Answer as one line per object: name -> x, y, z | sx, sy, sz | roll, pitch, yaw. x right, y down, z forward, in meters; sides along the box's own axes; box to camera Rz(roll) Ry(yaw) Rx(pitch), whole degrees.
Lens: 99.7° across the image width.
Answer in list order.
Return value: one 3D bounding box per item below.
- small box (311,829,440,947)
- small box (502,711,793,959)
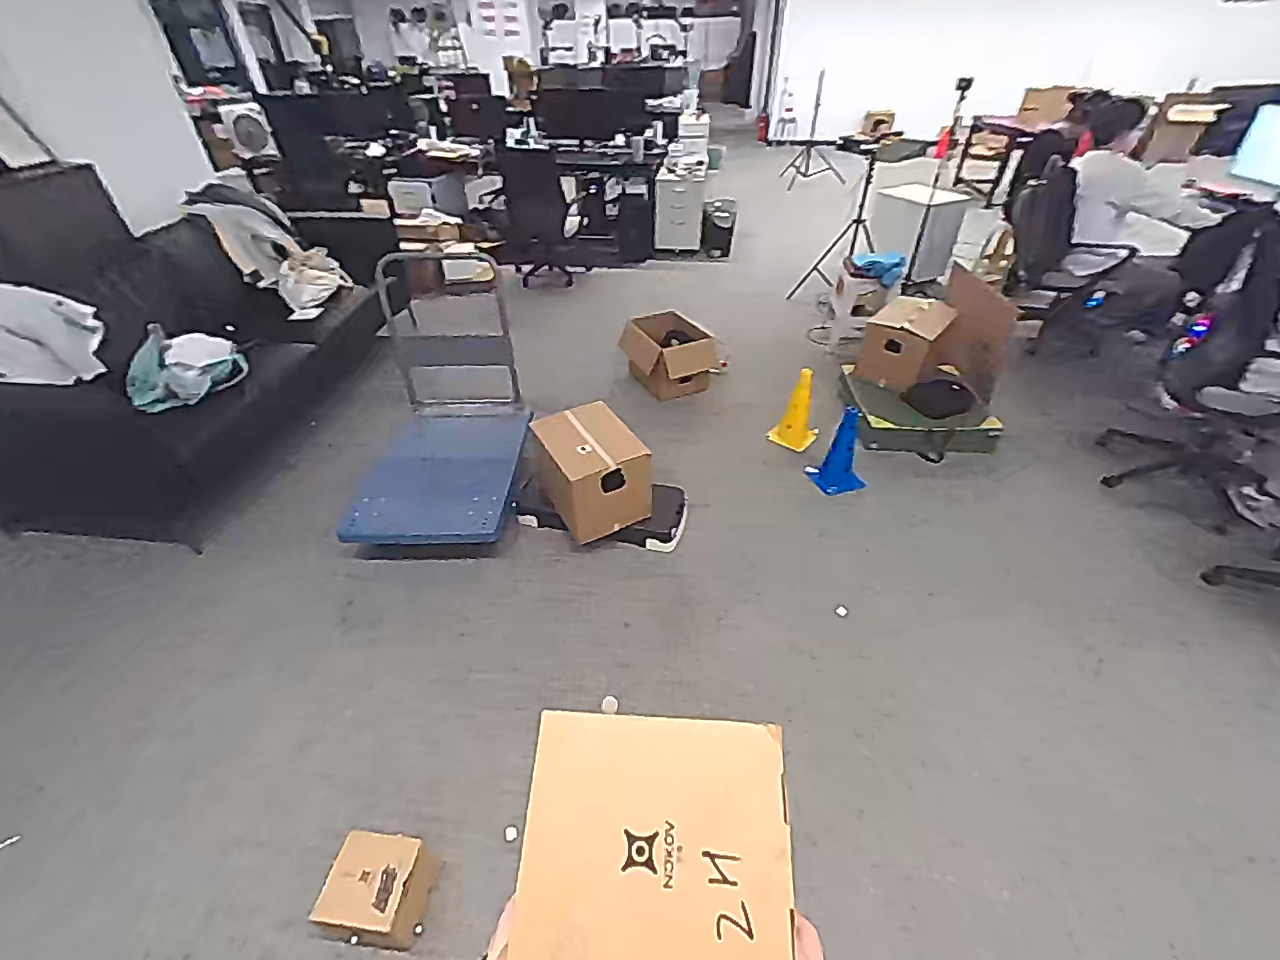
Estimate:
small box -> -0.569, 0.902, 1.193 | 0.179, 0.176, 0.168 | 4, 40, 7
small box -> 0.013, 0.283, 0.416 | 0.179, 0.176, 0.168 | 2, 60, 5
